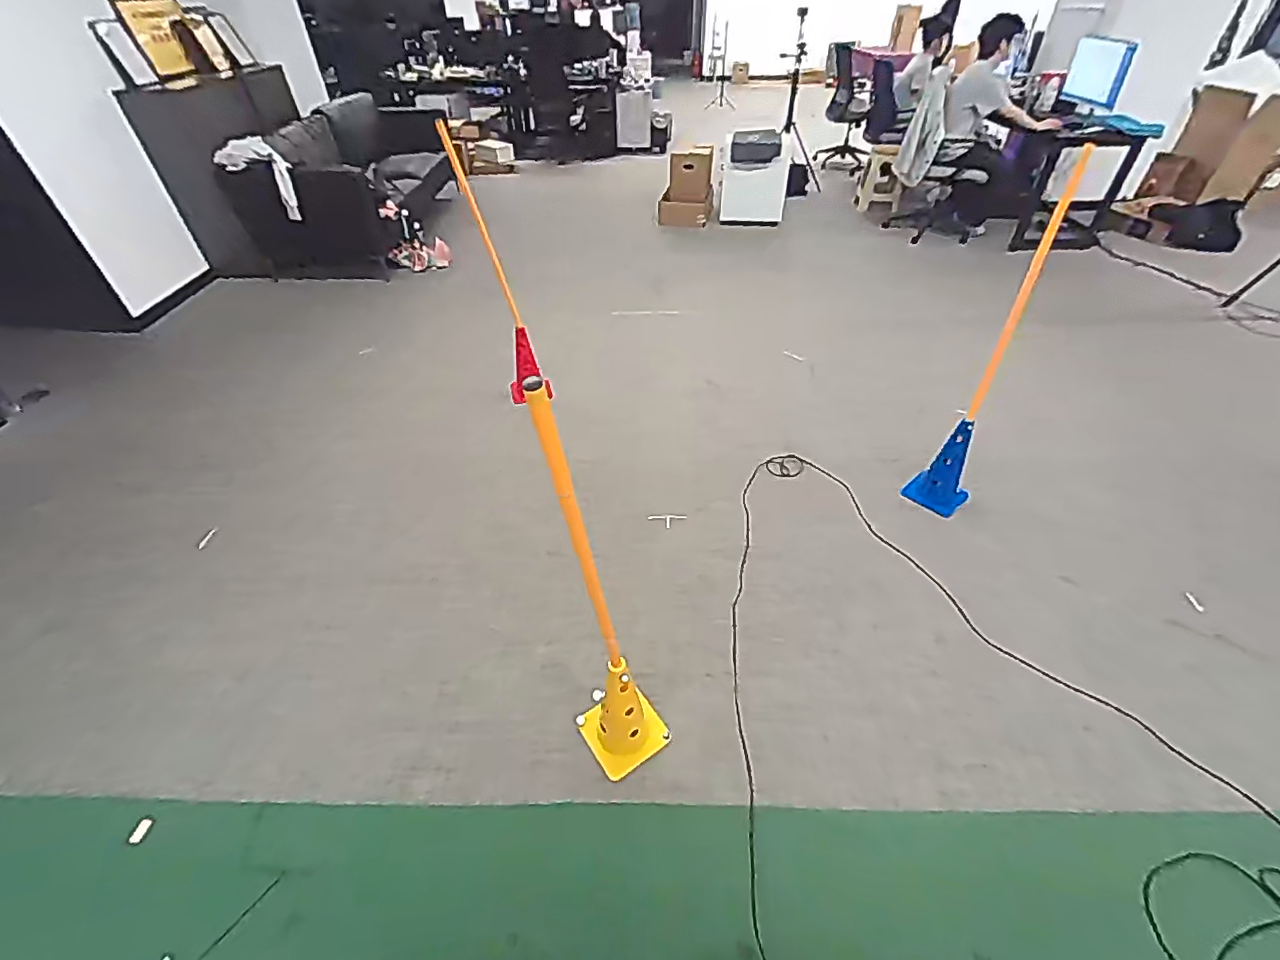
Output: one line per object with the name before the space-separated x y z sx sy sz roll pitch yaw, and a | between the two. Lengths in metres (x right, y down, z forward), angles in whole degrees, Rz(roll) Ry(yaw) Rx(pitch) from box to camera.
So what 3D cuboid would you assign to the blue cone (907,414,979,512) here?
blue cone | 1.171 -0.084 2.031 0.193 0.380 0.192 -32 50 -32
